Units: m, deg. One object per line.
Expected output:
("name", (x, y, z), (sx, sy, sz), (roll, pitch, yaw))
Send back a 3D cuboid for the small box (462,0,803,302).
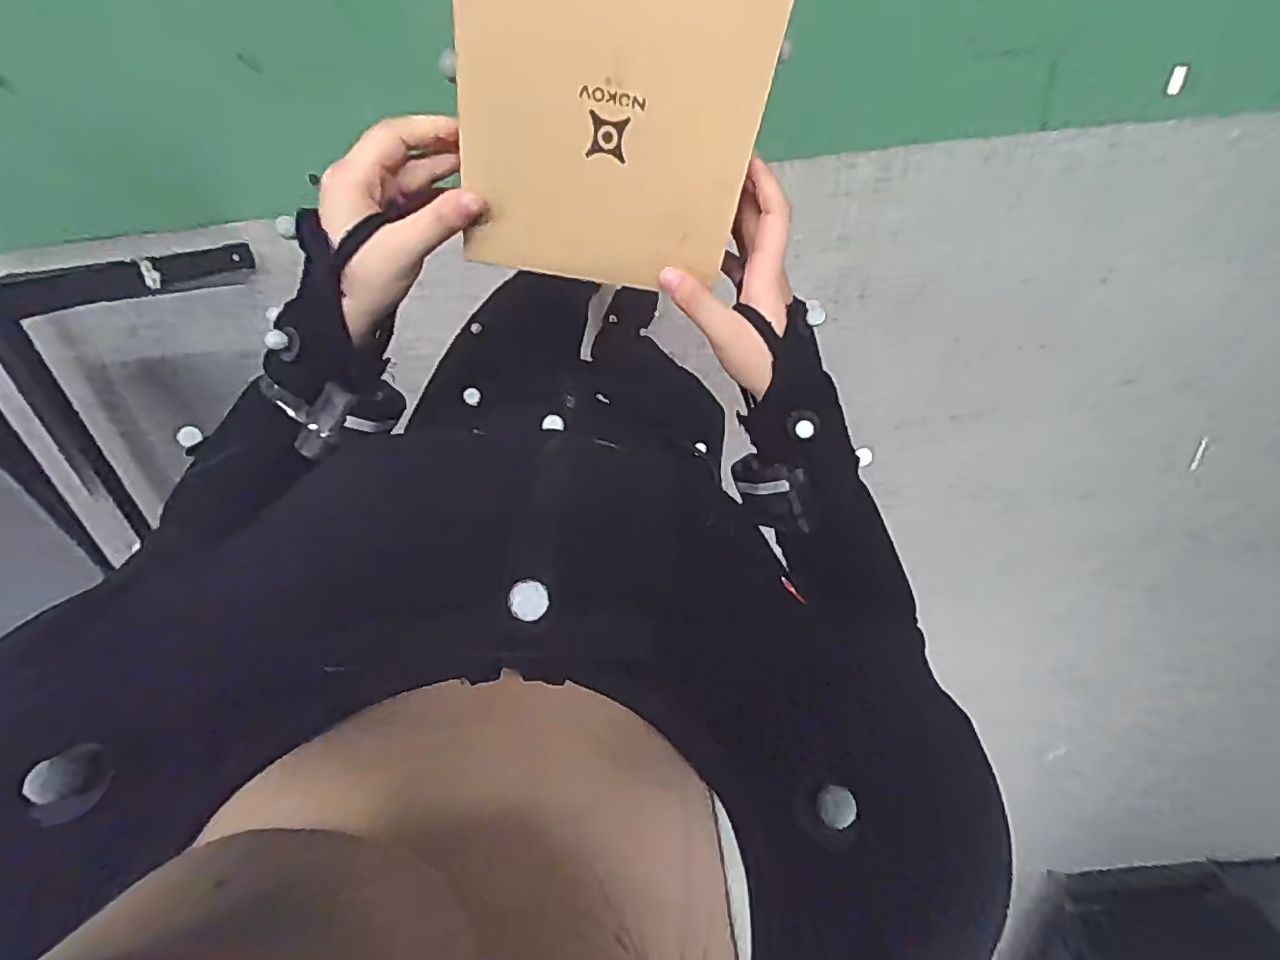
("small box", (-0.014, -0.245, 0.358), (0.168, 0.176, 0.179), (6, 131, -7))
